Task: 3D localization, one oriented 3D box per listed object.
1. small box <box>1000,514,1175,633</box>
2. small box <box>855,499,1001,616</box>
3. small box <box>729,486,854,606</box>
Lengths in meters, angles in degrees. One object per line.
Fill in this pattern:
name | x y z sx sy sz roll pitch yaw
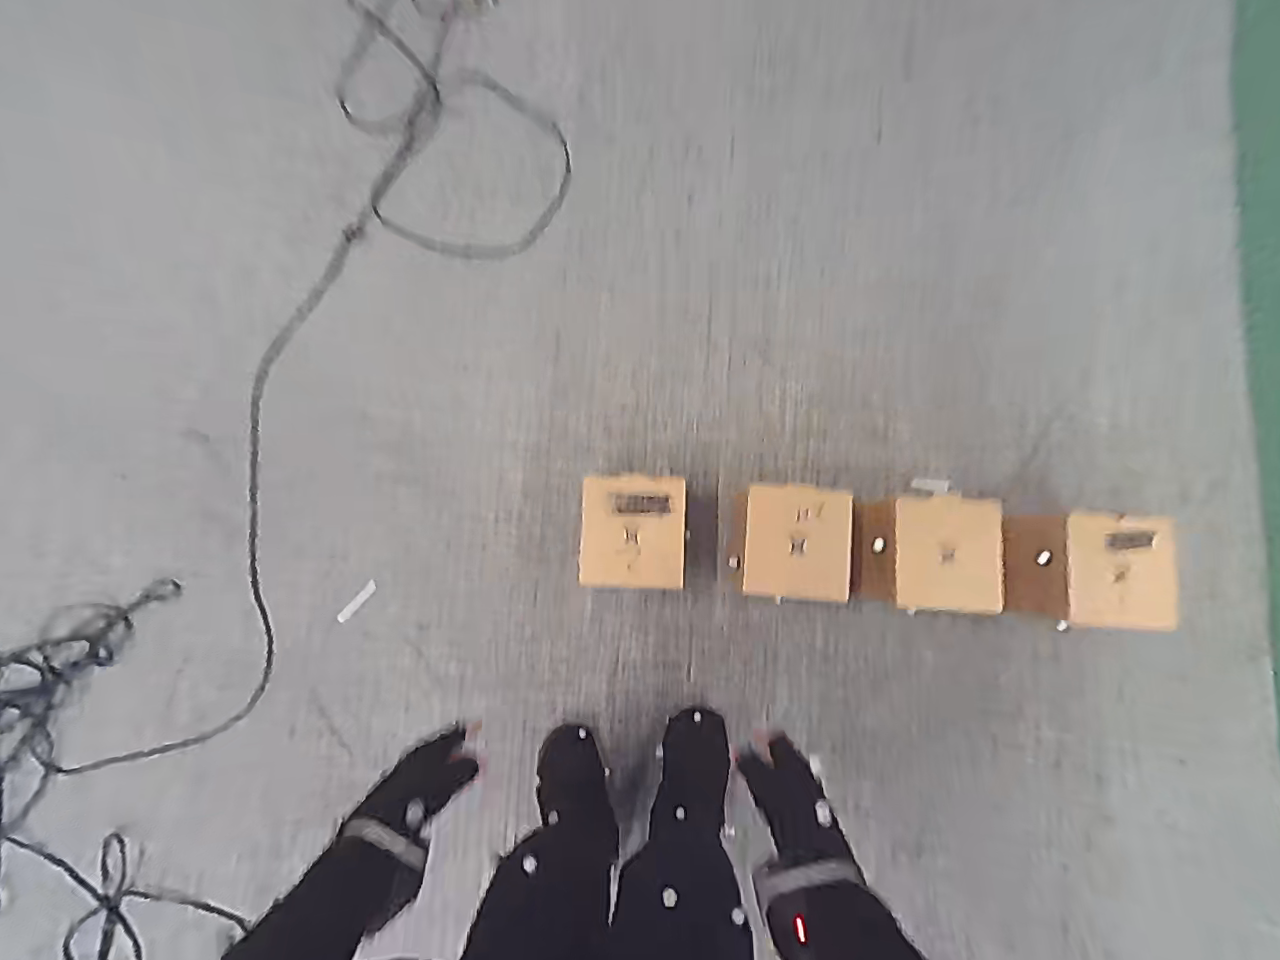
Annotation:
small box | 0.744 0.155 0.919 0.168 0.176 0.179 4 83 1
small box | 0.482 0.130 0.925 0.168 0.176 0.179 3 82 1
small box | 0.250 0.112 0.927 0.168 0.176 0.179 5 82 1
